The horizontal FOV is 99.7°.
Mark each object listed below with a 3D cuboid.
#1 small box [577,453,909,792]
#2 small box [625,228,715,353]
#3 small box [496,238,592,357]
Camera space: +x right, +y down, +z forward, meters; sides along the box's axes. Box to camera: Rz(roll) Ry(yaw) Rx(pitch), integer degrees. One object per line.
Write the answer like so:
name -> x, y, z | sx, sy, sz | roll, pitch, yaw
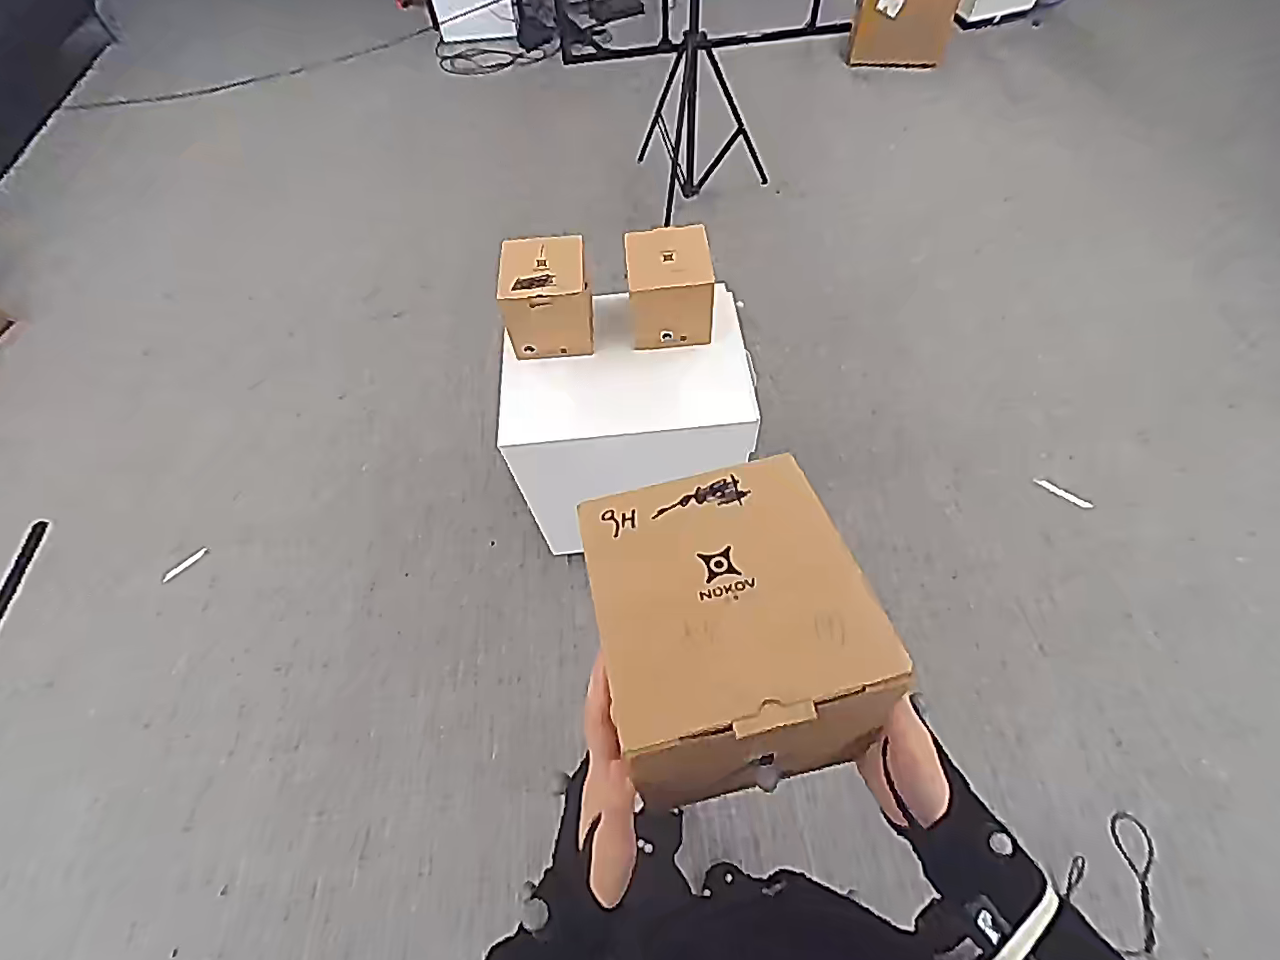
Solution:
small box -> 0.059, 0.112, 0.400 | 0.168, 0.176, 0.179 | -13, 50, -4
small box -> 0.059, -0.390, 1.124 | 0.168, 0.176, 0.179 | -6, 61, 2
small box -> -0.191, -0.371, 1.126 | 0.168, 0.176, 0.179 | -4, 60, 1
